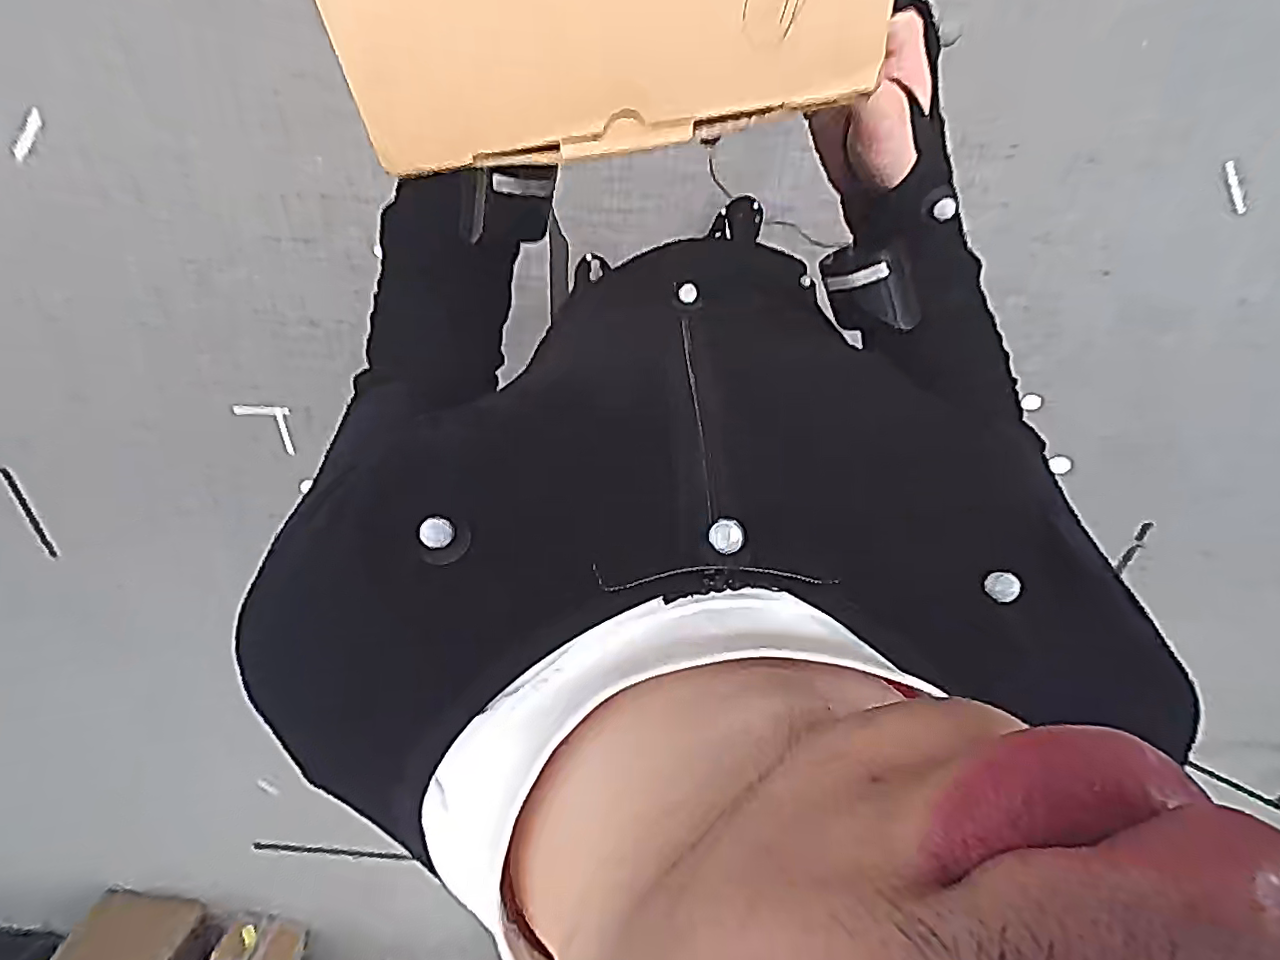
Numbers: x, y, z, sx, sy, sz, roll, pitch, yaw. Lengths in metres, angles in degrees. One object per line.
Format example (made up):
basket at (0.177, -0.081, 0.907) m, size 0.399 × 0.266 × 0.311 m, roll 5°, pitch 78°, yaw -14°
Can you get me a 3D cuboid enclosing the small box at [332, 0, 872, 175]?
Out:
small box at (-0.019, -0.234, 0.195) m, size 0.168 × 0.176 × 0.179 m, roll -8°, pitch 129°, yaw 4°
